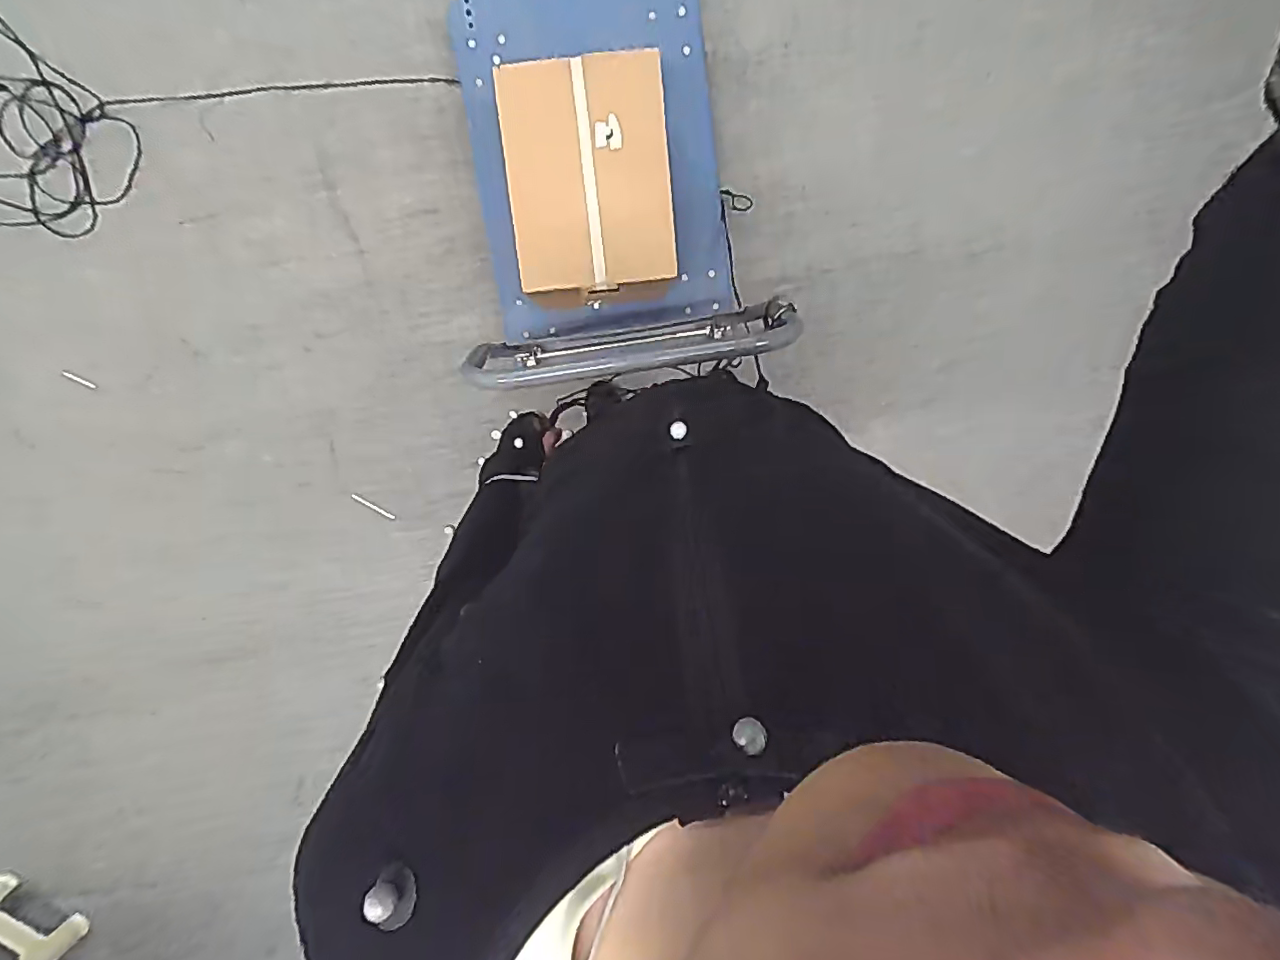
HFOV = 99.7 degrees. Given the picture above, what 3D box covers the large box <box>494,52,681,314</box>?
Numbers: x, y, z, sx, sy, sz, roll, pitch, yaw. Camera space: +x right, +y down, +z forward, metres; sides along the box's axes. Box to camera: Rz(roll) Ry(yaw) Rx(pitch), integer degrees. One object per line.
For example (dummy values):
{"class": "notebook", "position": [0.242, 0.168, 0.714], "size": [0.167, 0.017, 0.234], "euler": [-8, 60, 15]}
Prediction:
{"class": "large box", "position": [-0.096, -0.599, 1.171], "size": [0.320, 0.320, 0.408], "euler": [-6, 101, -1]}
